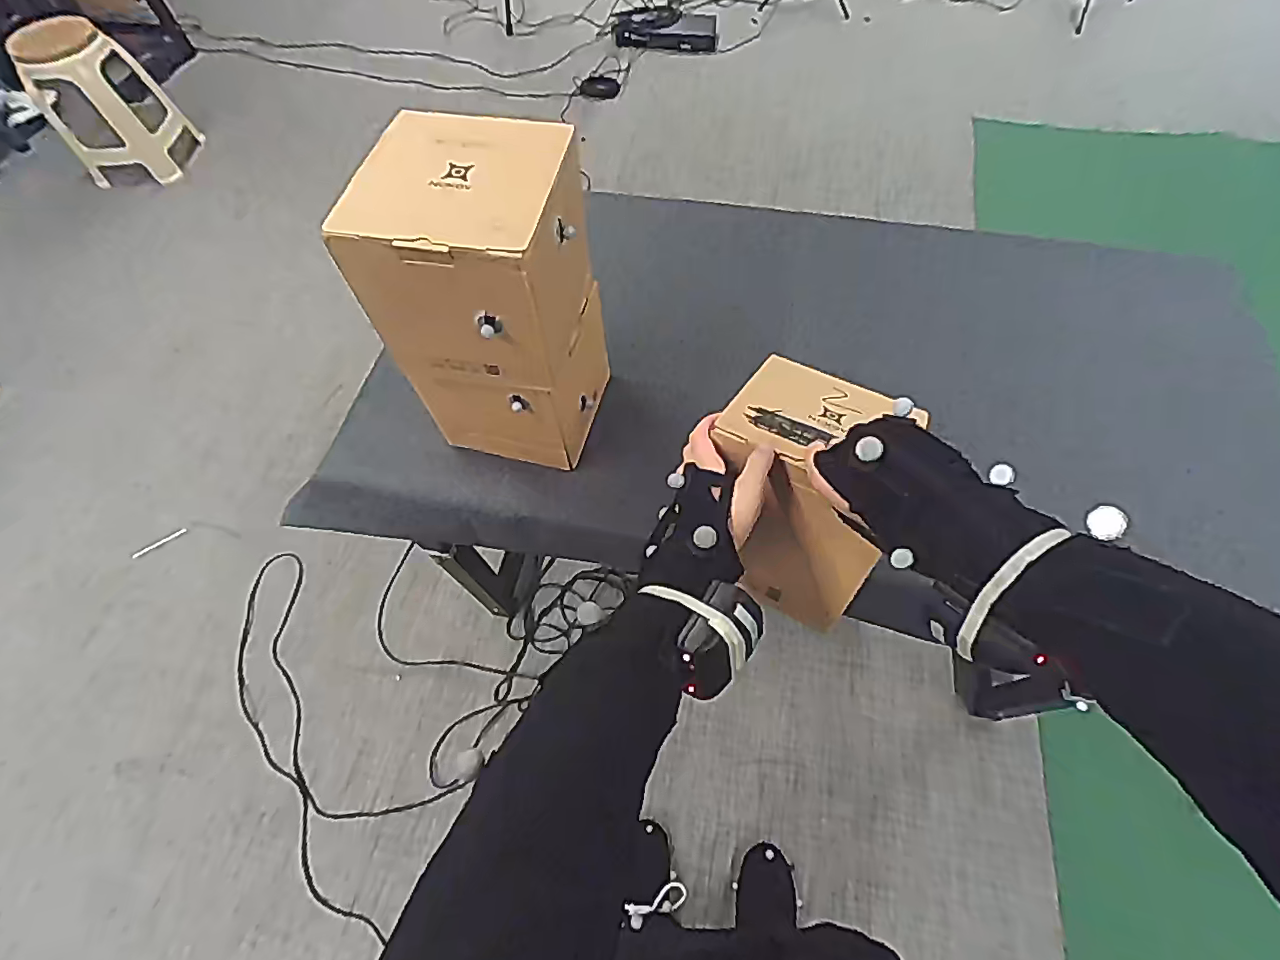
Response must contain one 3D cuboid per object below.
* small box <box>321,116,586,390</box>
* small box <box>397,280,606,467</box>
[{"bbox_3d":[-0.151,-0.208,0.516,0.168,0.176,0.179,8,60,4],"label":"small box"},{"bbox_3d":[-0.151,-0.135,0.661,0.179,0.176,0.168,12,62,8],"label":"small box"}]
